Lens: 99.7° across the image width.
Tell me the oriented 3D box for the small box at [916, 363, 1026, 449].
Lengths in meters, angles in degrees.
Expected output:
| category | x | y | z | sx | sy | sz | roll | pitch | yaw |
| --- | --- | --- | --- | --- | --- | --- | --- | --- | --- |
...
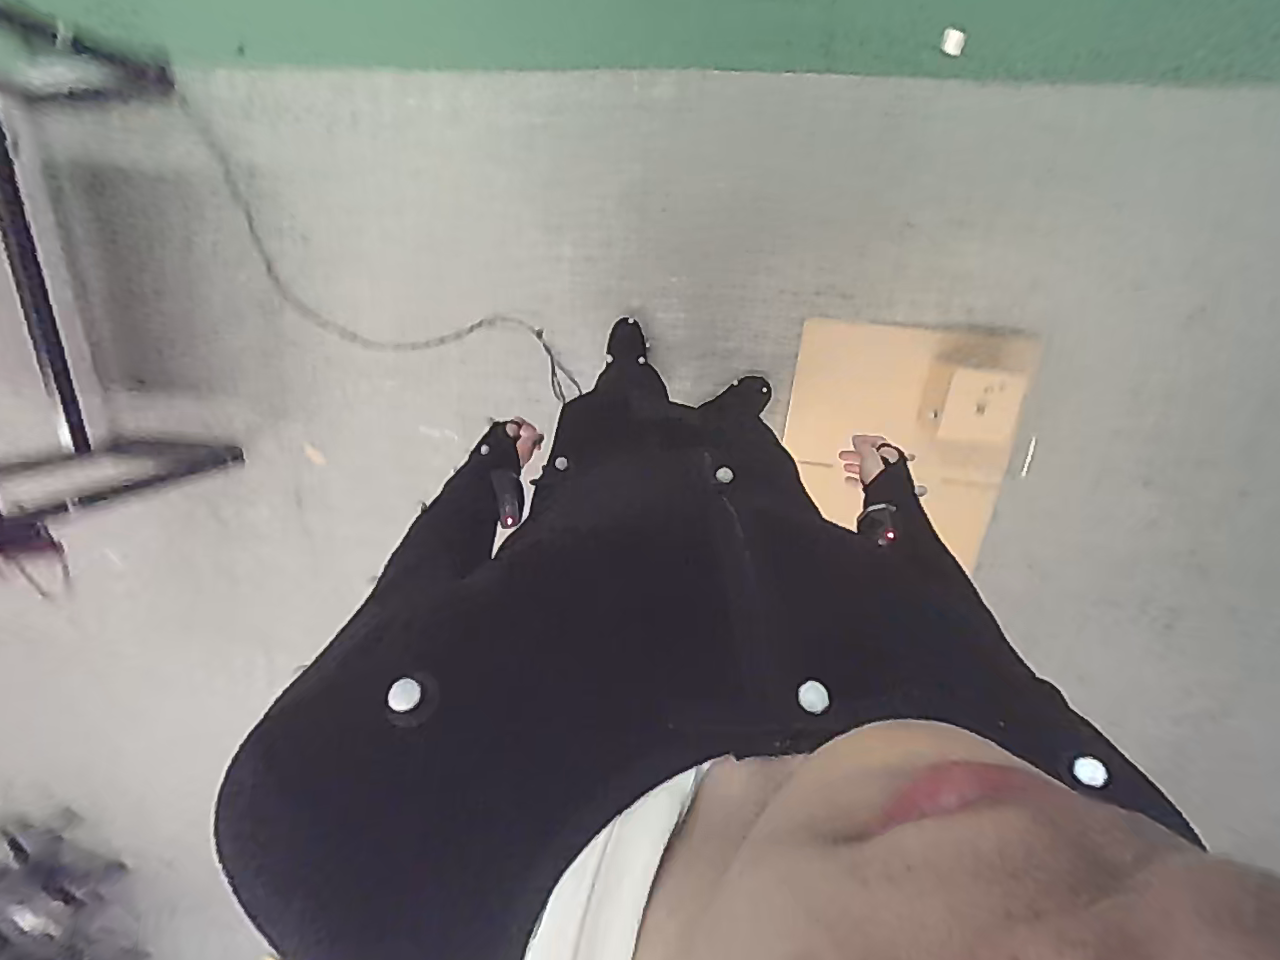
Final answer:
| category | x | y | z | sx | sy | sz | roll | pitch | yaw |
| --- | --- | --- | --- | --- | --- | --- | --- | --- | --- |
| small box | 0.830 | -0.195 | 1.379 | 0.168 | 0.176 | 0.179 | 10 | 108 | 6 |
